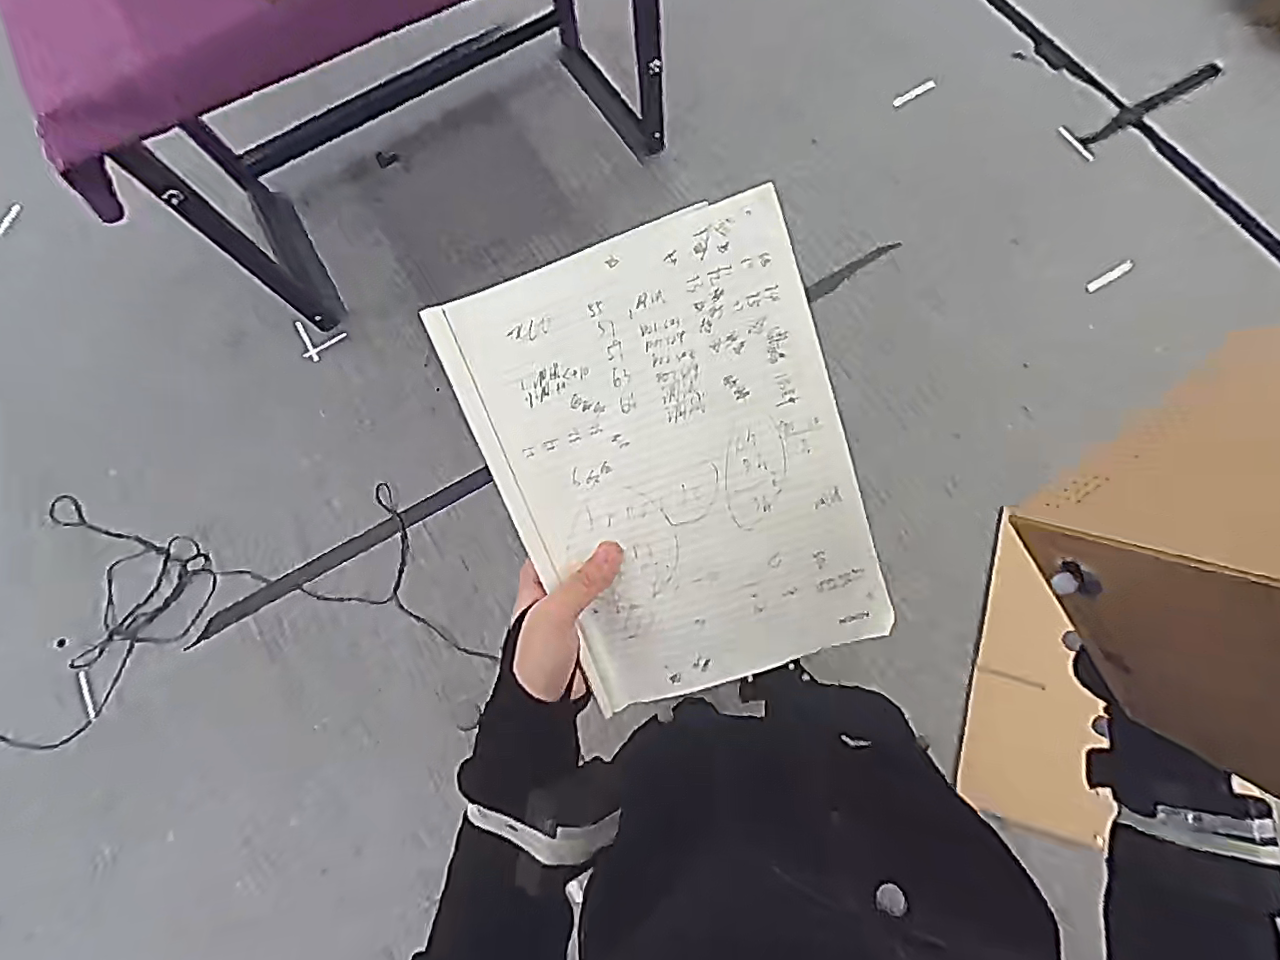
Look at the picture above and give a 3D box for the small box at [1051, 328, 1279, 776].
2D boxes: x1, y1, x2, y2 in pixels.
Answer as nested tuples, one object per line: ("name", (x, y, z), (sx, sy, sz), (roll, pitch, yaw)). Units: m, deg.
("small box", (0.335, 0.038, 0.240), (0.179, 0.176, 0.168), (-39, 101, -2))
